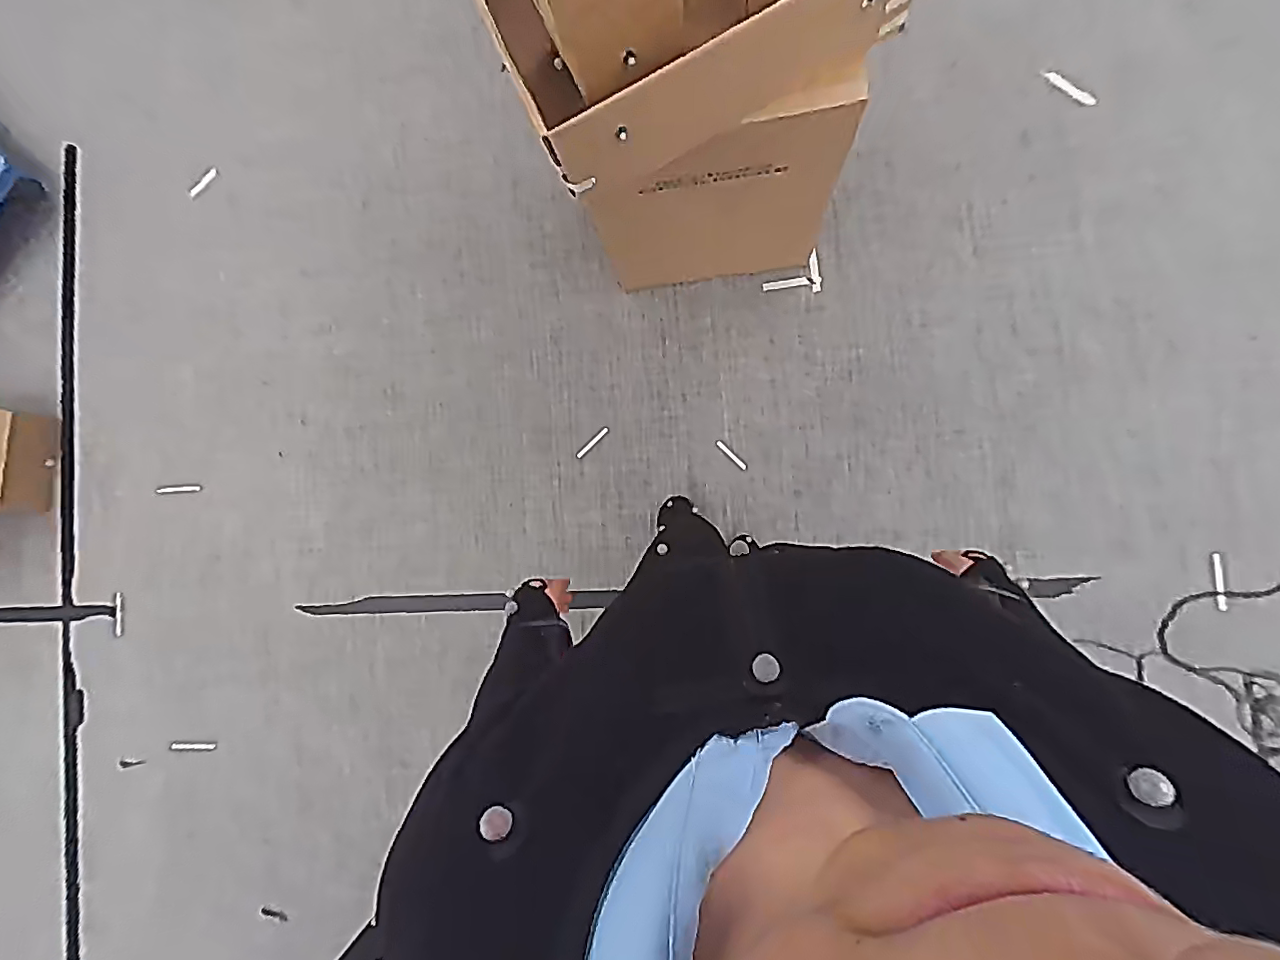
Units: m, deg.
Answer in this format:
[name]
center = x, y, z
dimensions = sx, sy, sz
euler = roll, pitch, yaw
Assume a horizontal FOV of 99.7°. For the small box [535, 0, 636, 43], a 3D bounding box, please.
[small box]
center = -0.078, -0.711, 0.667
dimensions = 0.179, 0.176, 0.168
euler = -30, 84, 6
